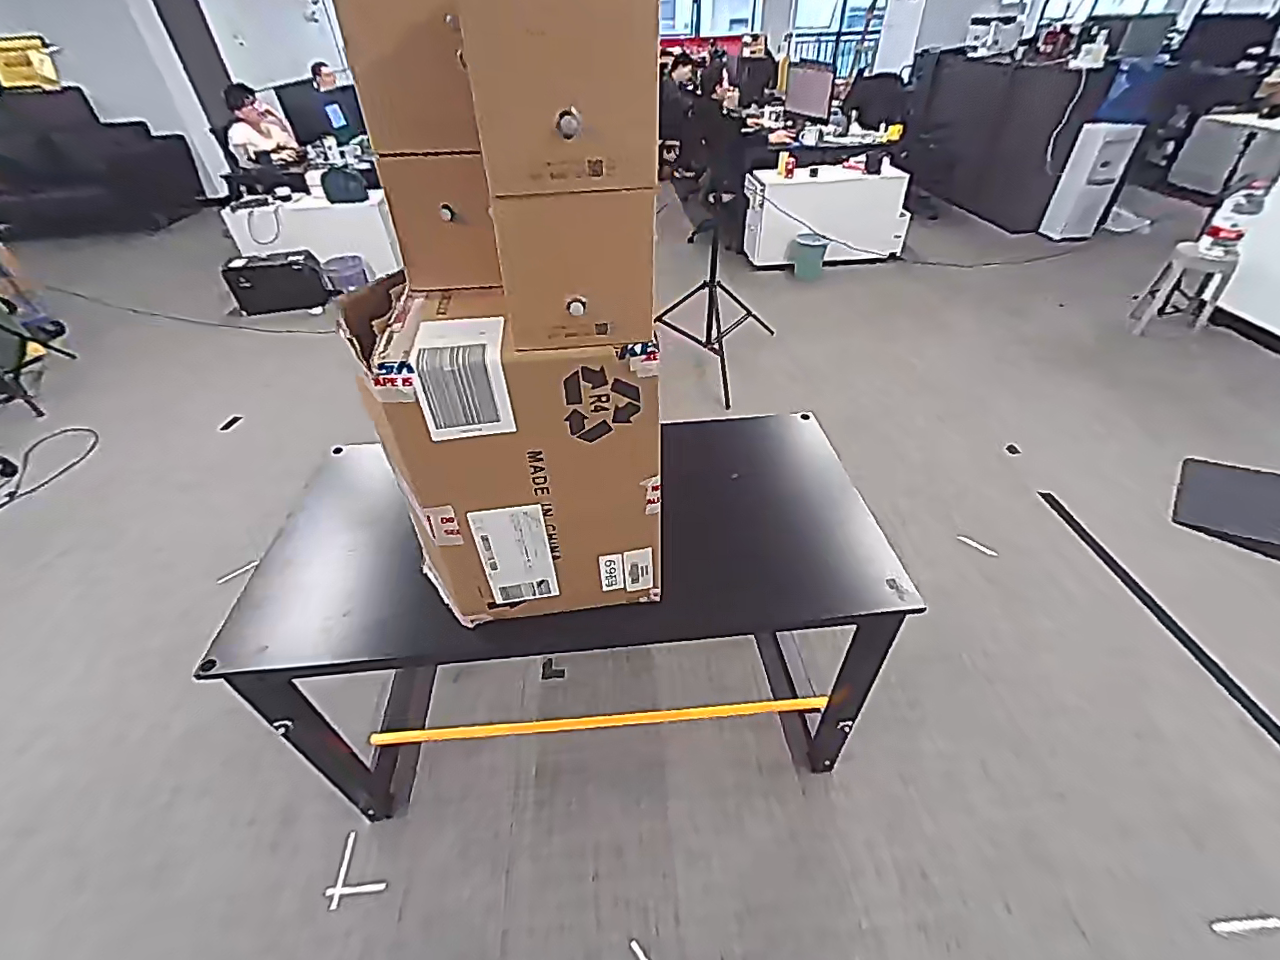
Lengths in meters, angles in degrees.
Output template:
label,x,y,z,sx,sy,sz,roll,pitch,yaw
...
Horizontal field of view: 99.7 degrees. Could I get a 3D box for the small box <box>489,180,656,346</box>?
label,x,y,z,sx,sy,sz,roll,pitch,yaw
small box,-0.076,-0.275,0.642,0.168,0.176,0.179,-6,42,-6

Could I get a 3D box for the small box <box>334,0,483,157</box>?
label,x,y,z,sx,sy,sz,roll,pitch,yaw
small box,-0.247,-0.509,0.668,0.179,0.176,0.168,-8,39,-8

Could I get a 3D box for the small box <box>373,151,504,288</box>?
label,x,y,z,sx,sy,sz,roll,pitch,yaw
small box,-0.247,-0.384,0.773,0.179,0.176,0.168,-6,39,-6

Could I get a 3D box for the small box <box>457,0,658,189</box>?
label,x,y,z,sx,sy,sz,roll,pitch,yaw
small box,-0.080,-0.398,0.531,0.168,0.176,0.179,-8,42,-8
